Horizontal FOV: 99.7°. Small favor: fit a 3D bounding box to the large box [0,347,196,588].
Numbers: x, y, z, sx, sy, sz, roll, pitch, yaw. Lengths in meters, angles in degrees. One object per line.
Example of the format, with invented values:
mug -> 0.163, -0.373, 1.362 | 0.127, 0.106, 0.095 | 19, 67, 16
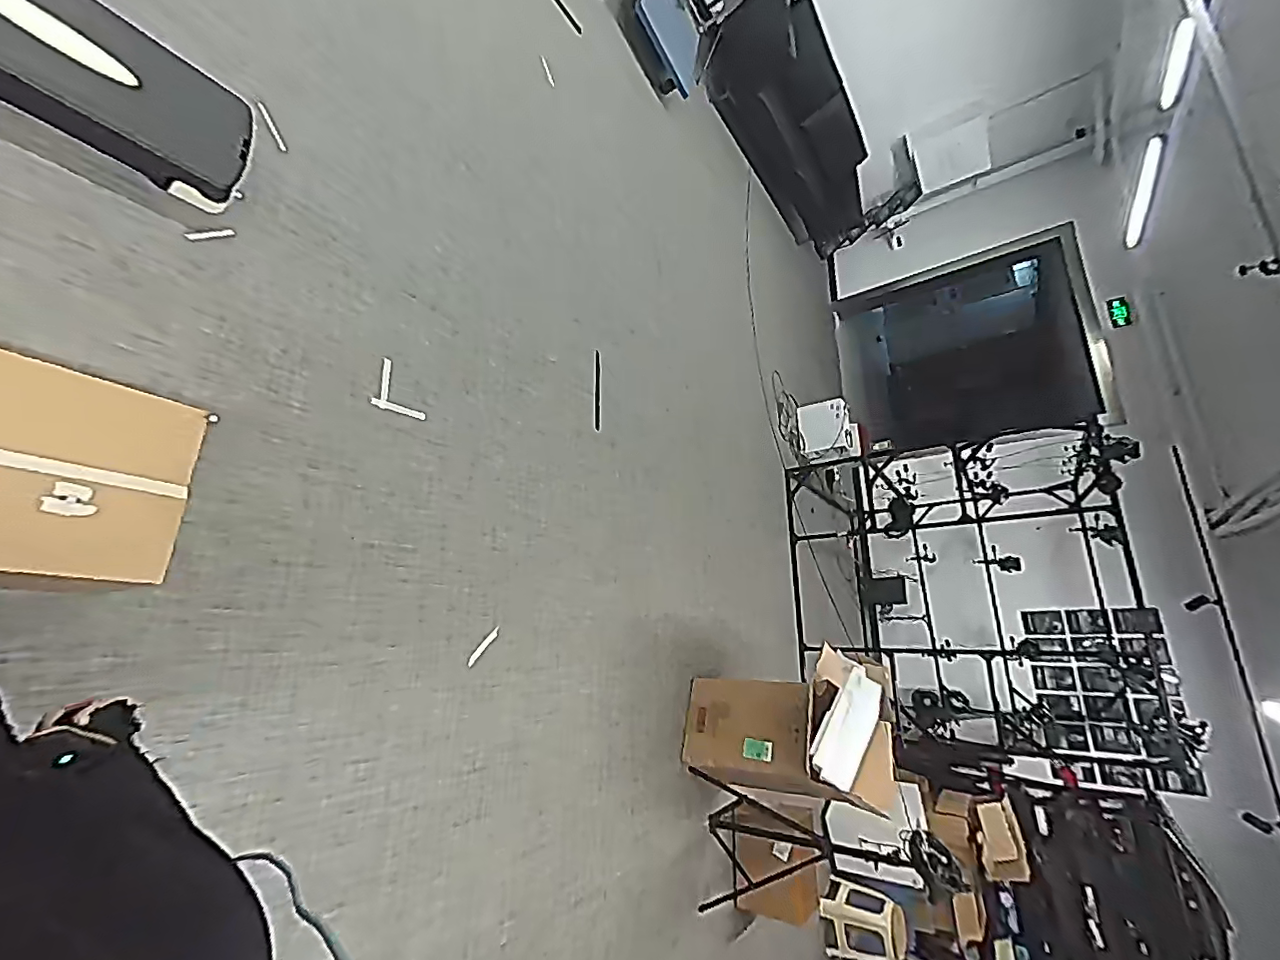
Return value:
large box -> -1.022, -0.012, 0.834 | 0.408, 0.320, 0.320 | 26, 60, -53
